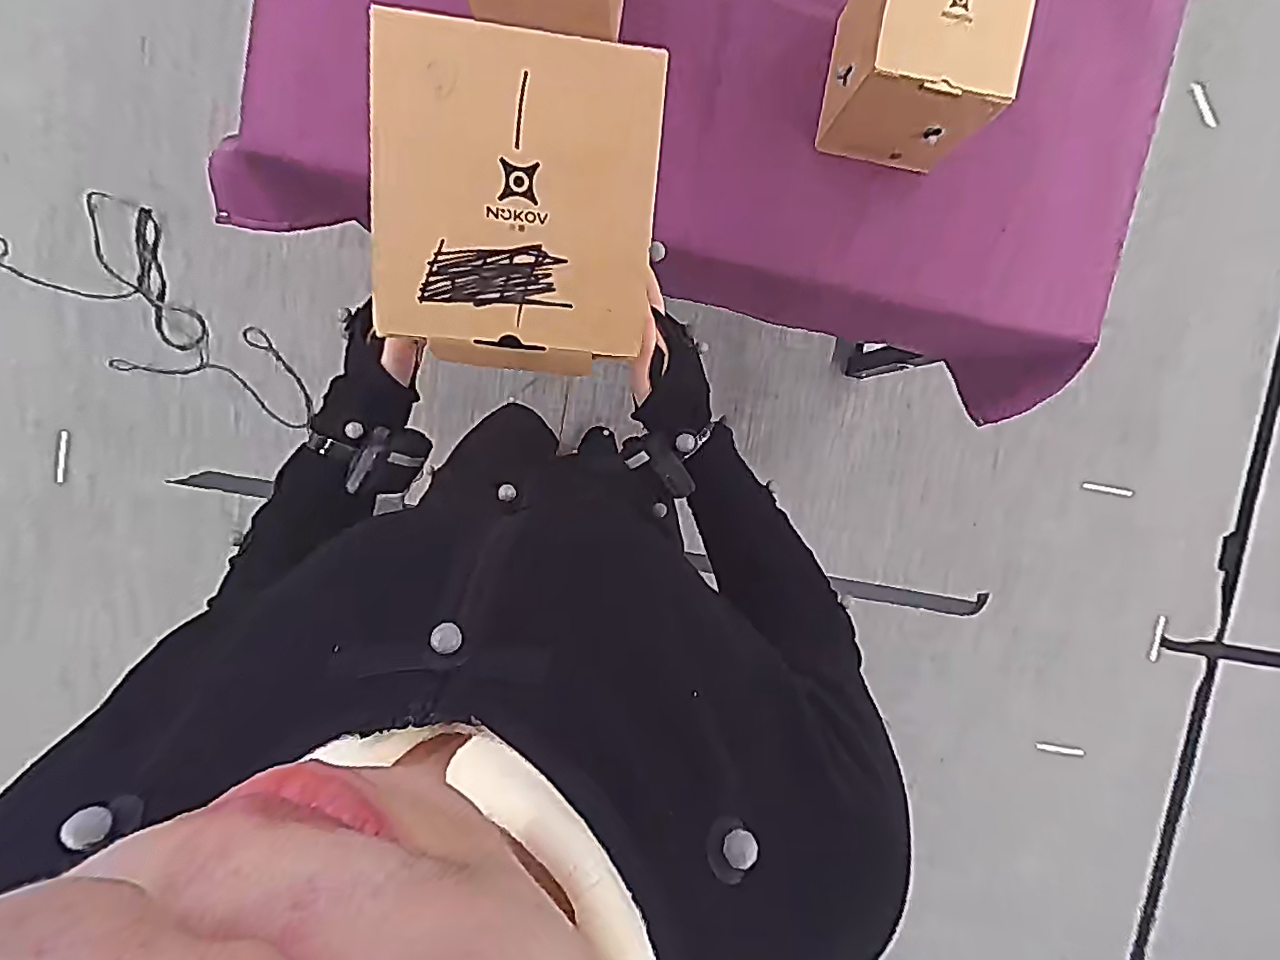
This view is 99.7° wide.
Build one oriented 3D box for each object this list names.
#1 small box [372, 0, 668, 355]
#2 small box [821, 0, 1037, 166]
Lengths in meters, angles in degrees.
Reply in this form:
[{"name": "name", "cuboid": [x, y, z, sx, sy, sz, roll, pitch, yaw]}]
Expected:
[{"name": "small box", "cuboid": [-0.079, -0.190, 0.397, 0.168, 0.176, 0.179, 4, 103, -6]}, {"name": "small box", "cuboid": [0.338, -0.518, 0.657, 0.168, 0.176, 0.179, 10, 94, -5]}]
